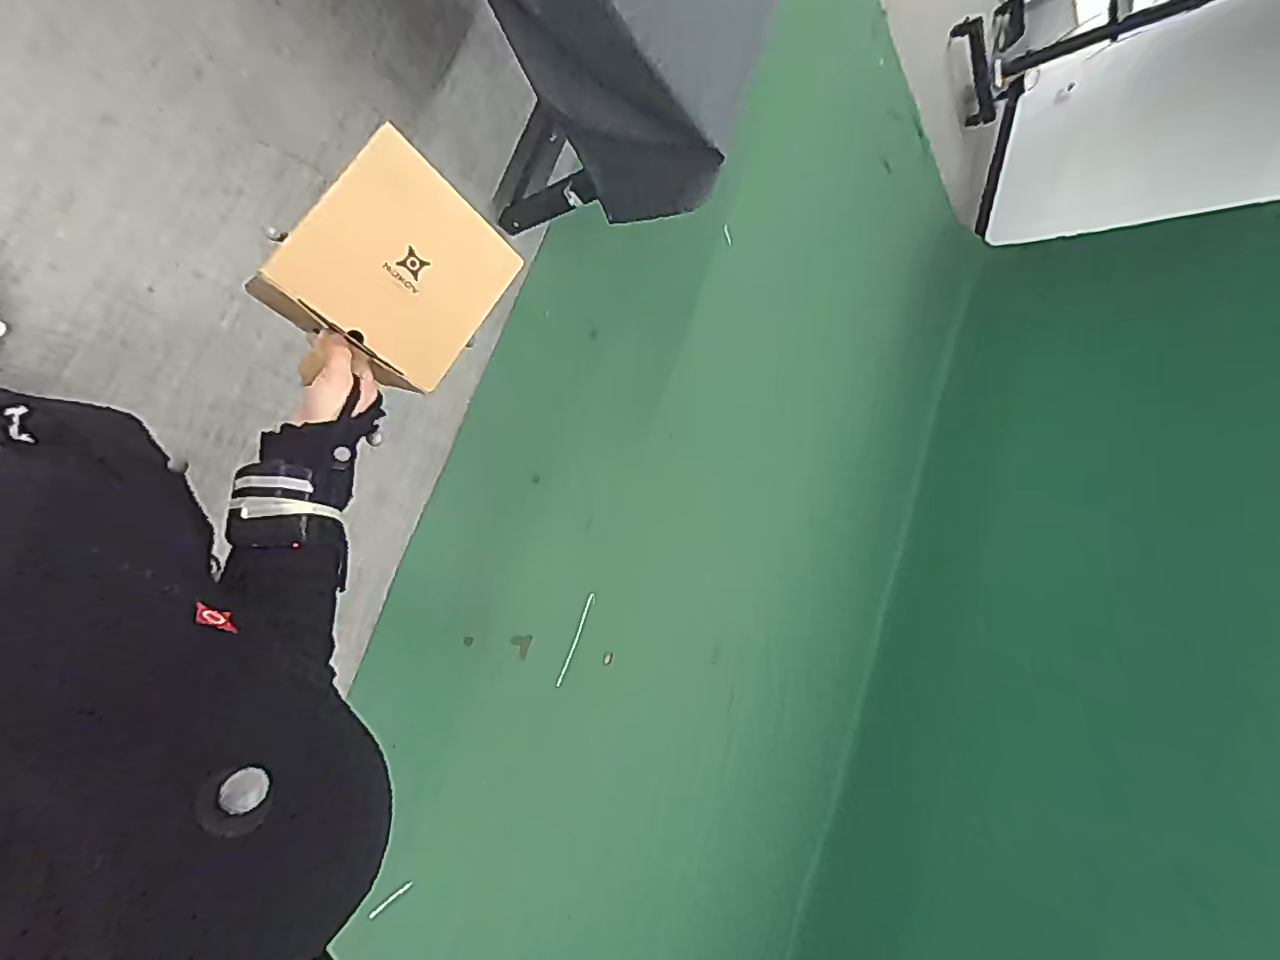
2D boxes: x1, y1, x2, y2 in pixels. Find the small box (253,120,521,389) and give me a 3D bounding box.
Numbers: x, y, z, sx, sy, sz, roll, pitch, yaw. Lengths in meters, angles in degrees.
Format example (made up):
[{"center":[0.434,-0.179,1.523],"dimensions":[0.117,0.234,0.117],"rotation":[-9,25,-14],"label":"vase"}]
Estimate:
[{"center":[-0.264,-0.219,0.559],"dimensions":[0.168,0.176,0.179],"rotation":[40,76,-40],"label":"small box"}]
